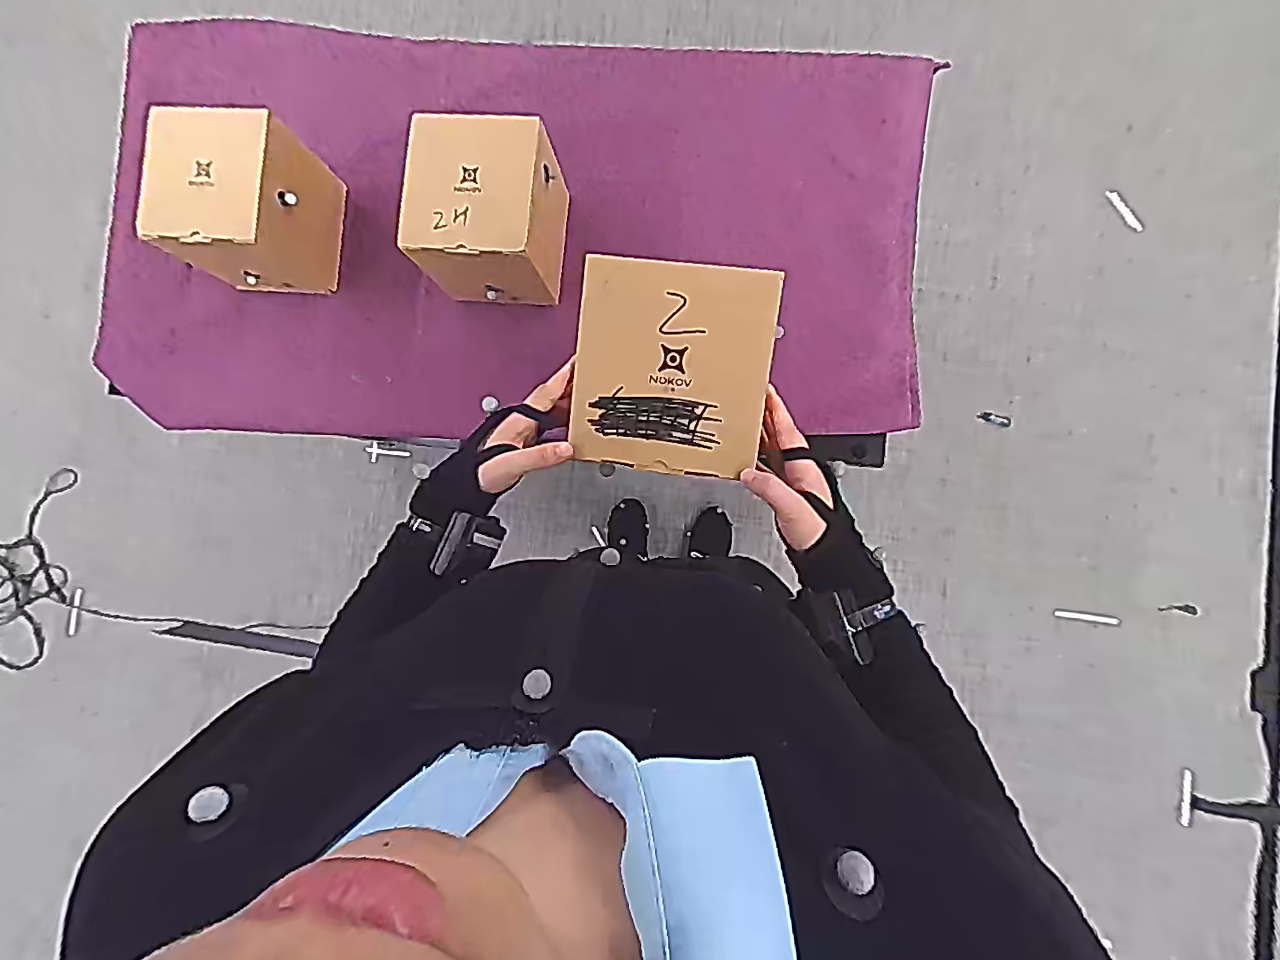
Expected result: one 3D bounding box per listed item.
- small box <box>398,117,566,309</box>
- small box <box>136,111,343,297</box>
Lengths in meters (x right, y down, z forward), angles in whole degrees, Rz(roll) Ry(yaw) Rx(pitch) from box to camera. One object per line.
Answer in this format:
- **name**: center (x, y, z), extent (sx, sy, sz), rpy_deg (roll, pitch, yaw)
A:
- **small box**: center (-0.203, -0.355, 0.742), extent (0.168, 0.176, 0.179), rpy_deg (5, 87, 6)
- **small box**: center (-0.554, -0.383, 0.773), extent (0.168, 0.176, 0.179), rpy_deg (4, 88, 4)
